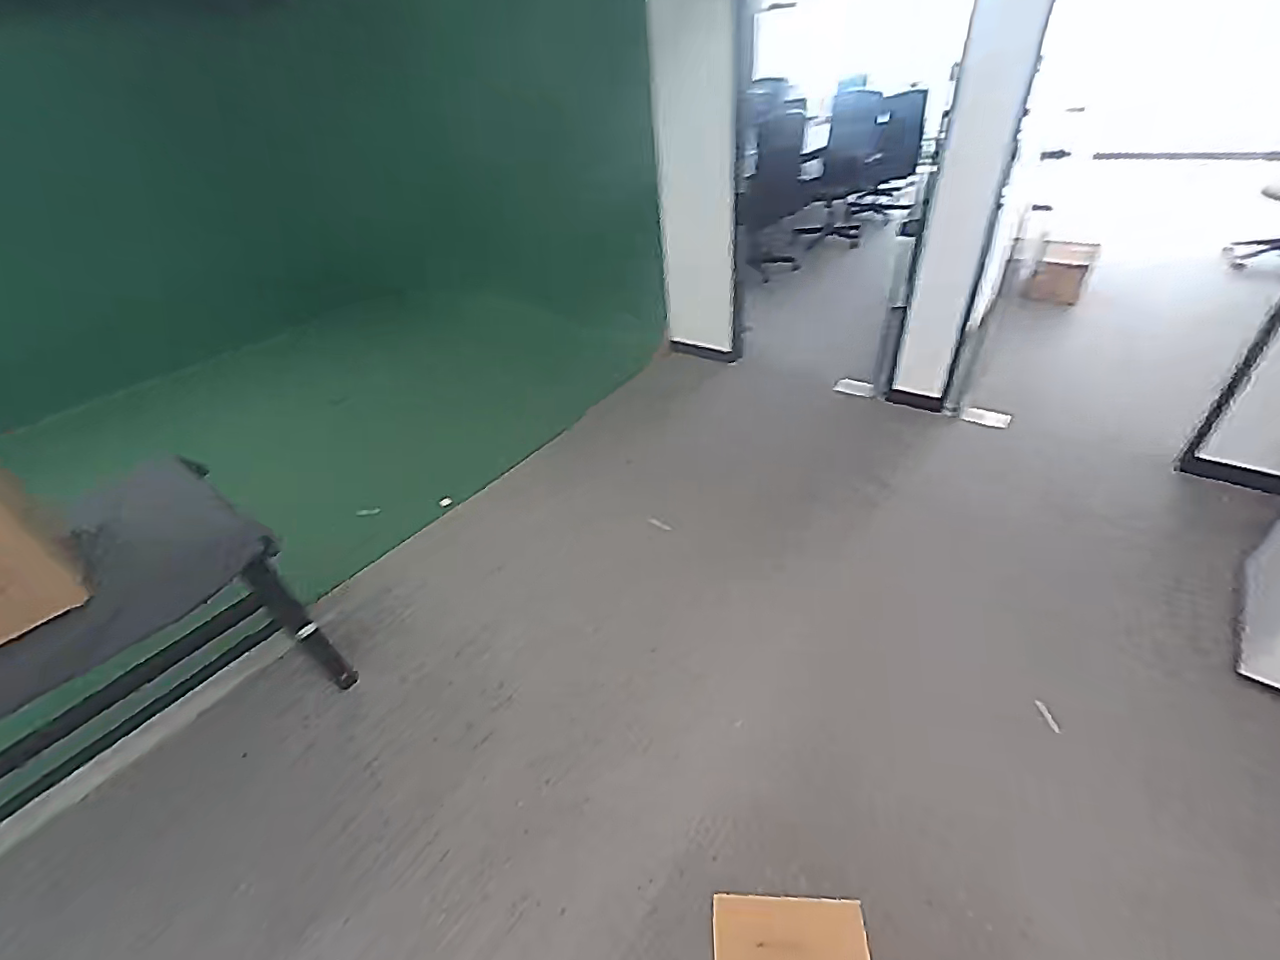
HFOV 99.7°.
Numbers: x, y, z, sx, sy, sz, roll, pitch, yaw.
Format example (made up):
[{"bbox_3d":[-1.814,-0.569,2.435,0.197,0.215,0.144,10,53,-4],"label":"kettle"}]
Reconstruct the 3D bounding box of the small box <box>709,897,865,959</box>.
[{"bbox_3d":[0.167,0.596,0.595,0.168,0.176,0.179,-5,34,9],"label":"small box"}]
